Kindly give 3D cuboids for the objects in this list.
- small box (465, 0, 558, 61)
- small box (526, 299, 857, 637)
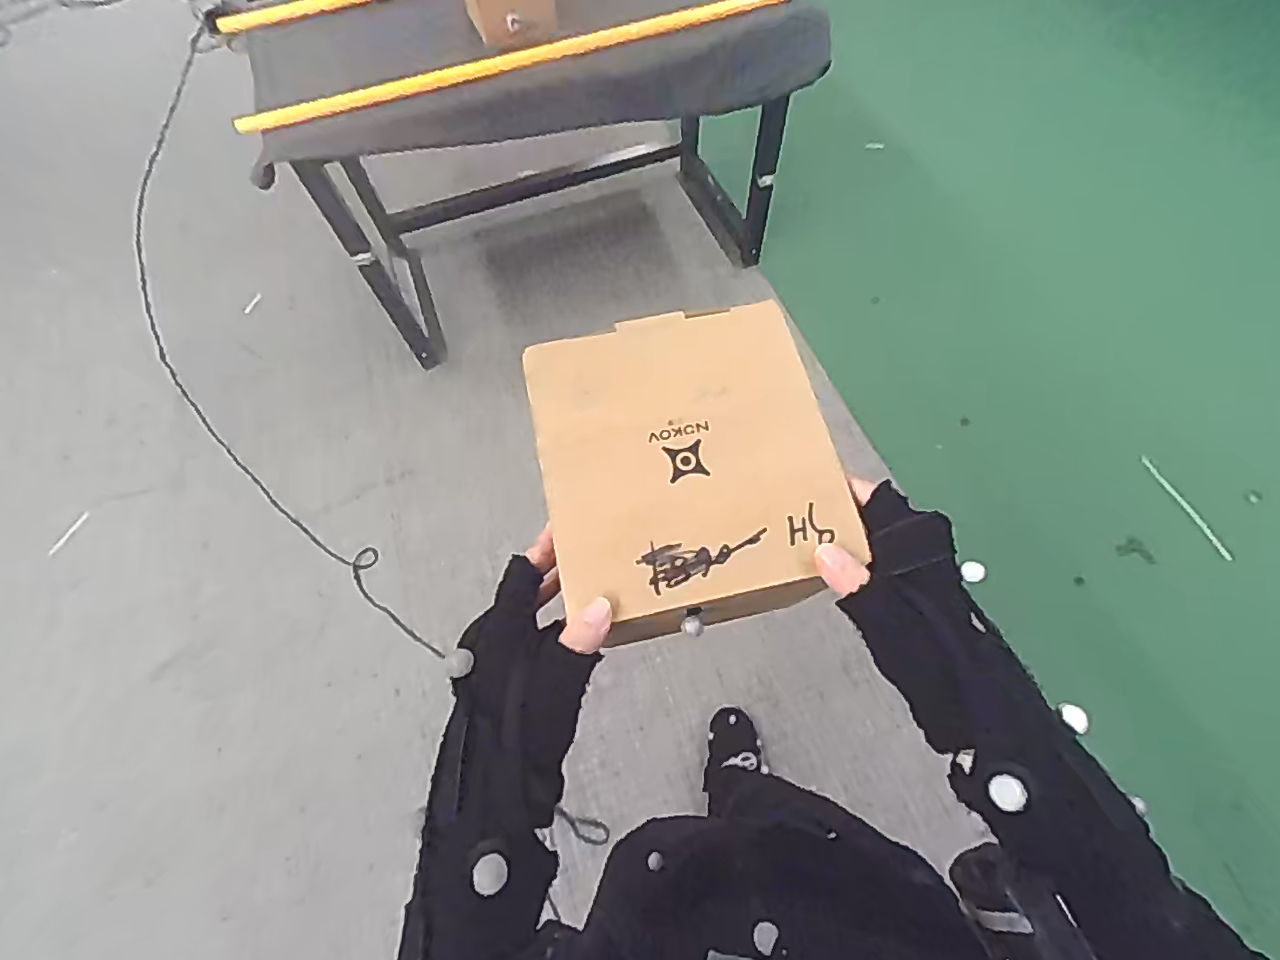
[{"bbox_3d":[-0.291,-1.056,1.169,0.168,0.176,0.179,-22,66,-7],"label":"small box"},{"bbox_3d":[0.024,0.004,0.394,0.168,0.176,0.179,-12,69,-3],"label":"small box"}]
